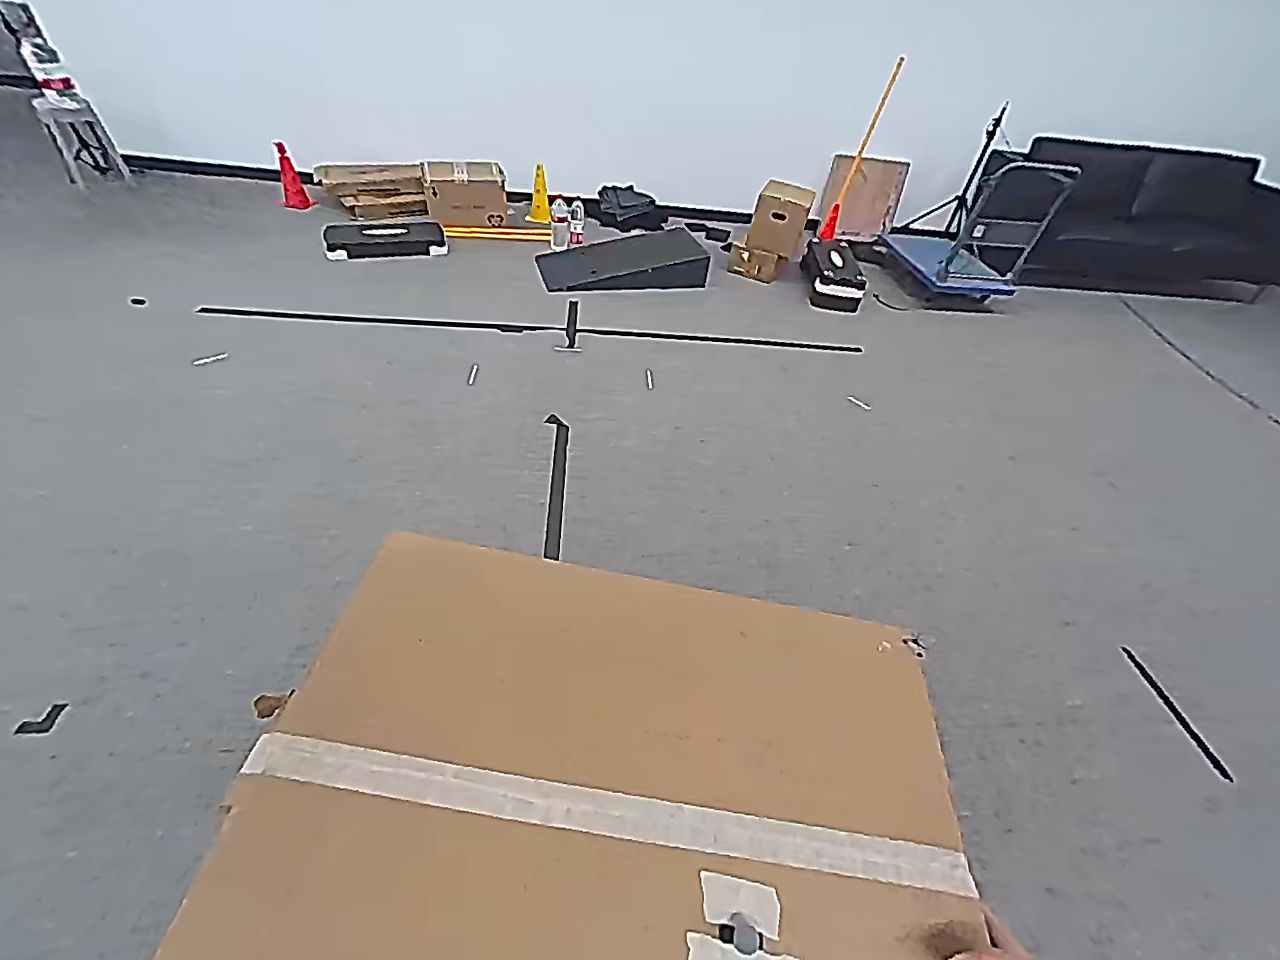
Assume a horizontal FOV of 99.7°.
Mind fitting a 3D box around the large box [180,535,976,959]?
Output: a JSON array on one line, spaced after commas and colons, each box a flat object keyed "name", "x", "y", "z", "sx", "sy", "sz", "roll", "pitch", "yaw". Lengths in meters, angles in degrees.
[{"name": "large box", "x": -0.031, "y": 0.286, "z": 0.428, "sx": 0.408, "sy": 0.320, "sz": 0.320, "roll": 12, "pitch": 48, "yaw": -2}]
